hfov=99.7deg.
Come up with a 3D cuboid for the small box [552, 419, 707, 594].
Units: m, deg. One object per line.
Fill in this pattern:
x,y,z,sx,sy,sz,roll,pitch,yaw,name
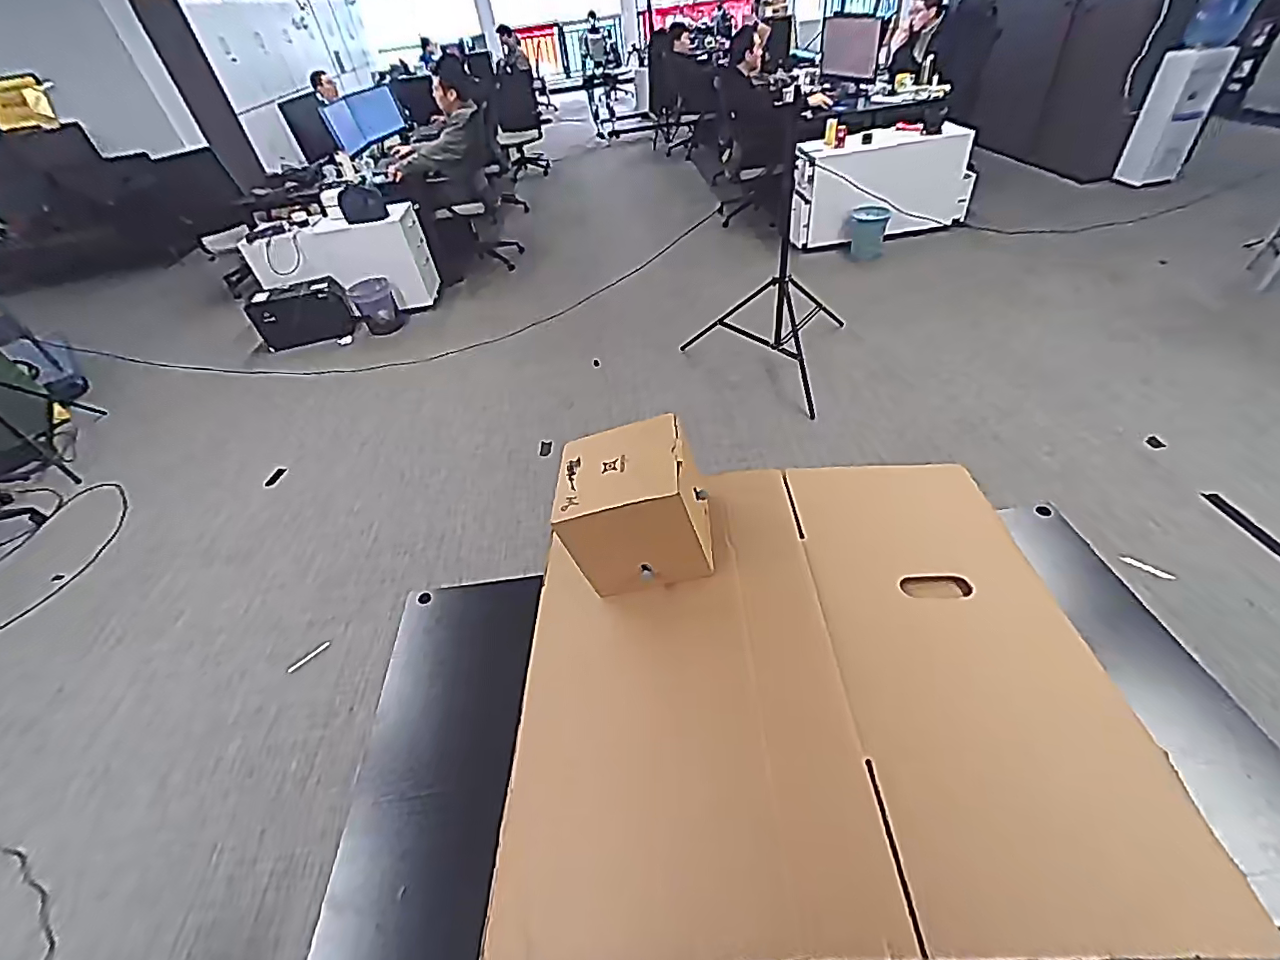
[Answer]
-0.005,0.042,0.782,0.179,0.176,0.168,-13,40,13,small box
